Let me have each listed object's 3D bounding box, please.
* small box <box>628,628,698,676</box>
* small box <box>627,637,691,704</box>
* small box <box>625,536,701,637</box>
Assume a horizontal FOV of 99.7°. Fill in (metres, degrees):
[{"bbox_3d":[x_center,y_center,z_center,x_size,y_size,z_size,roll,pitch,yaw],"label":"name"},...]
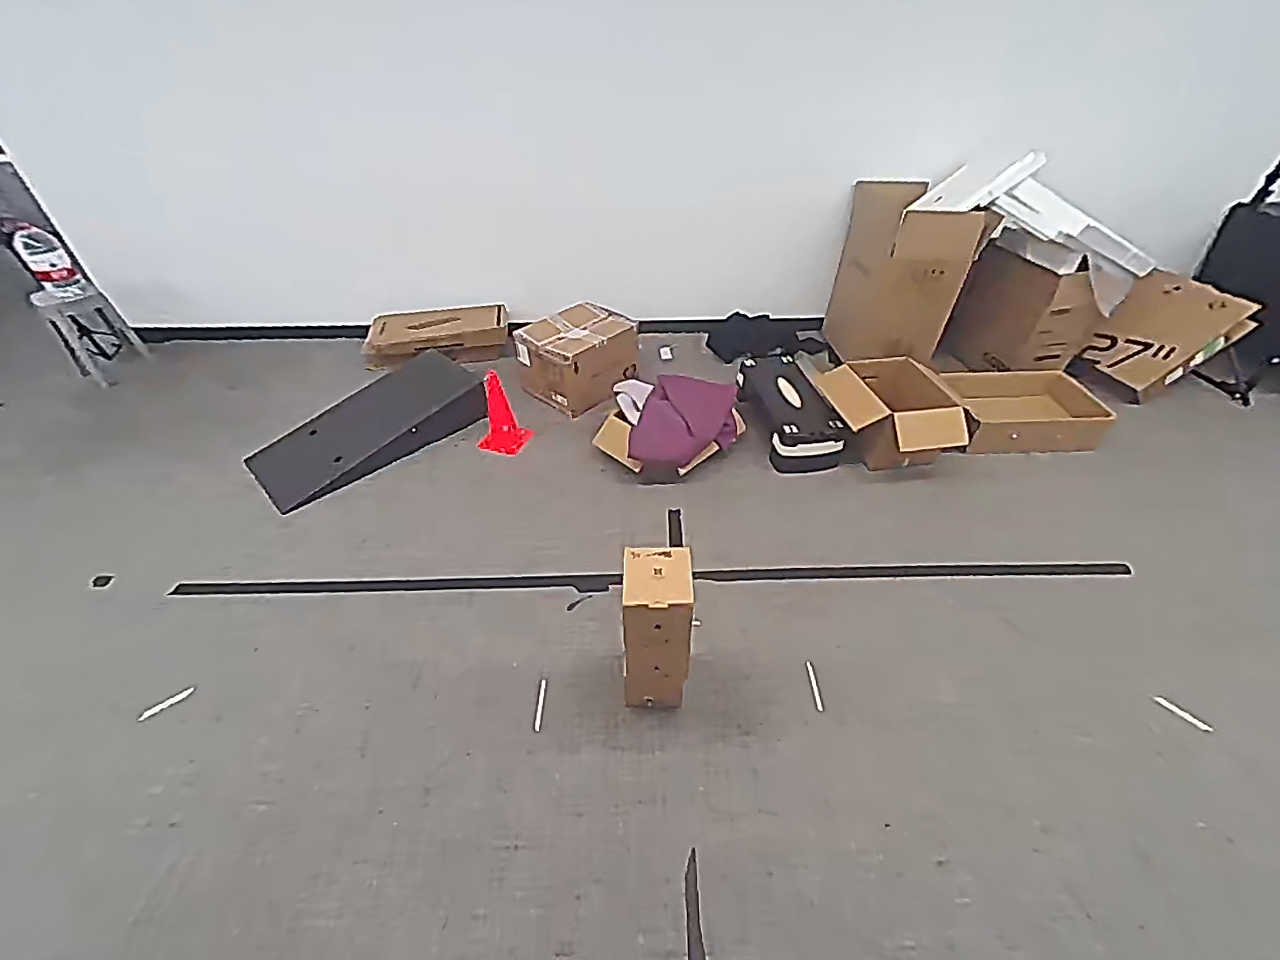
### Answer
[{"bbox_3d":[0.055,0.373,1.364,0.168,0.176,0.179,-1,41,1],"label":"small box"},{"bbox_3d":[0.048,0.492,1.479,0.168,0.176,0.179,-1,42,0],"label":"small box"},{"bbox_3d":[0.052,0.250,1.256,0.168,0.176,0.179,0,41,1],"label":"small box"}]
